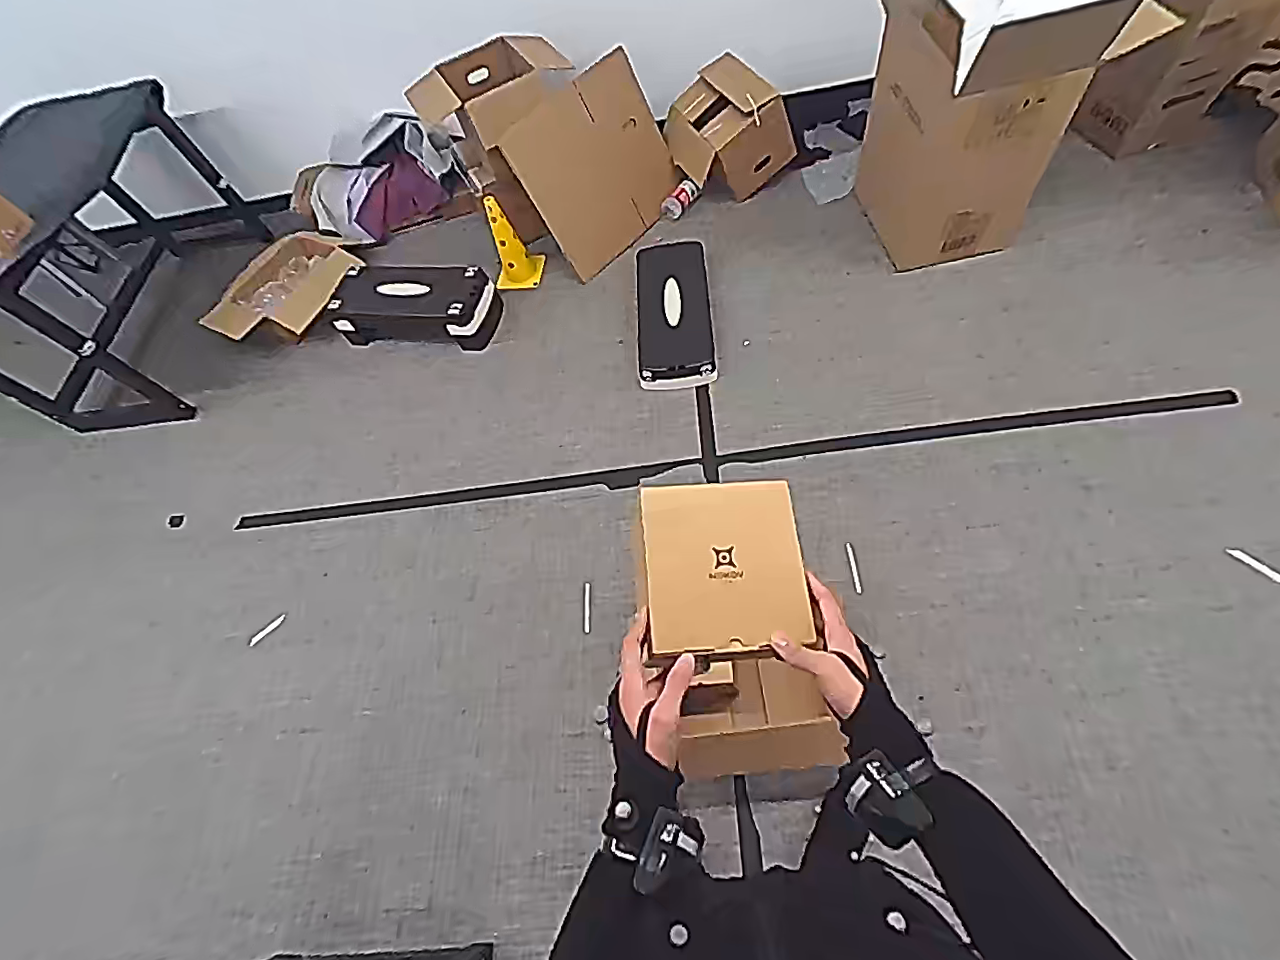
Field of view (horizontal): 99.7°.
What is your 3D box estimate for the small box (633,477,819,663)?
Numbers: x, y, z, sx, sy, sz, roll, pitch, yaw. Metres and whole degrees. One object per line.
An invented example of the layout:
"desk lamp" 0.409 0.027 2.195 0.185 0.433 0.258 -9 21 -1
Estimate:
"small box" 0.082 0.110 0.621 0.168 0.176 0.179 -2 69 -5
